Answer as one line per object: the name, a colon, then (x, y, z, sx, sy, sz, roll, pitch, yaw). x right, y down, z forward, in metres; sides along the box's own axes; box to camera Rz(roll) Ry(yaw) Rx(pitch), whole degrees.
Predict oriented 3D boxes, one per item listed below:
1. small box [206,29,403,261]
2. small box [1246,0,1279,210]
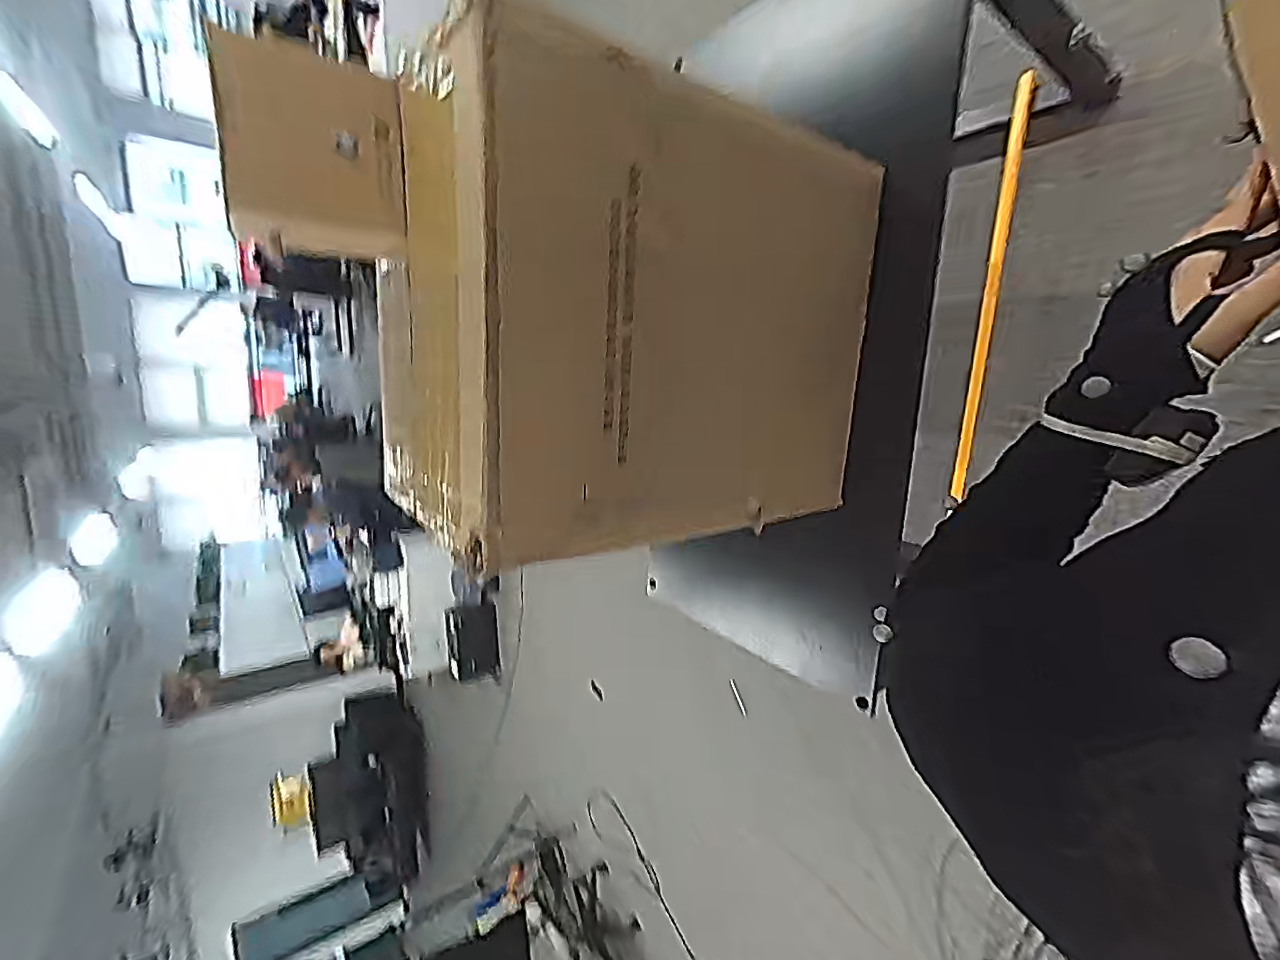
small box: (-0.381, -0.360, 0.628, 0.179, 0.176, 0.168, 17, 109, 53)
small box: (0.474, -0.240, 0.300, 0.168, 0.176, 0.179, -14, 95, 51)
